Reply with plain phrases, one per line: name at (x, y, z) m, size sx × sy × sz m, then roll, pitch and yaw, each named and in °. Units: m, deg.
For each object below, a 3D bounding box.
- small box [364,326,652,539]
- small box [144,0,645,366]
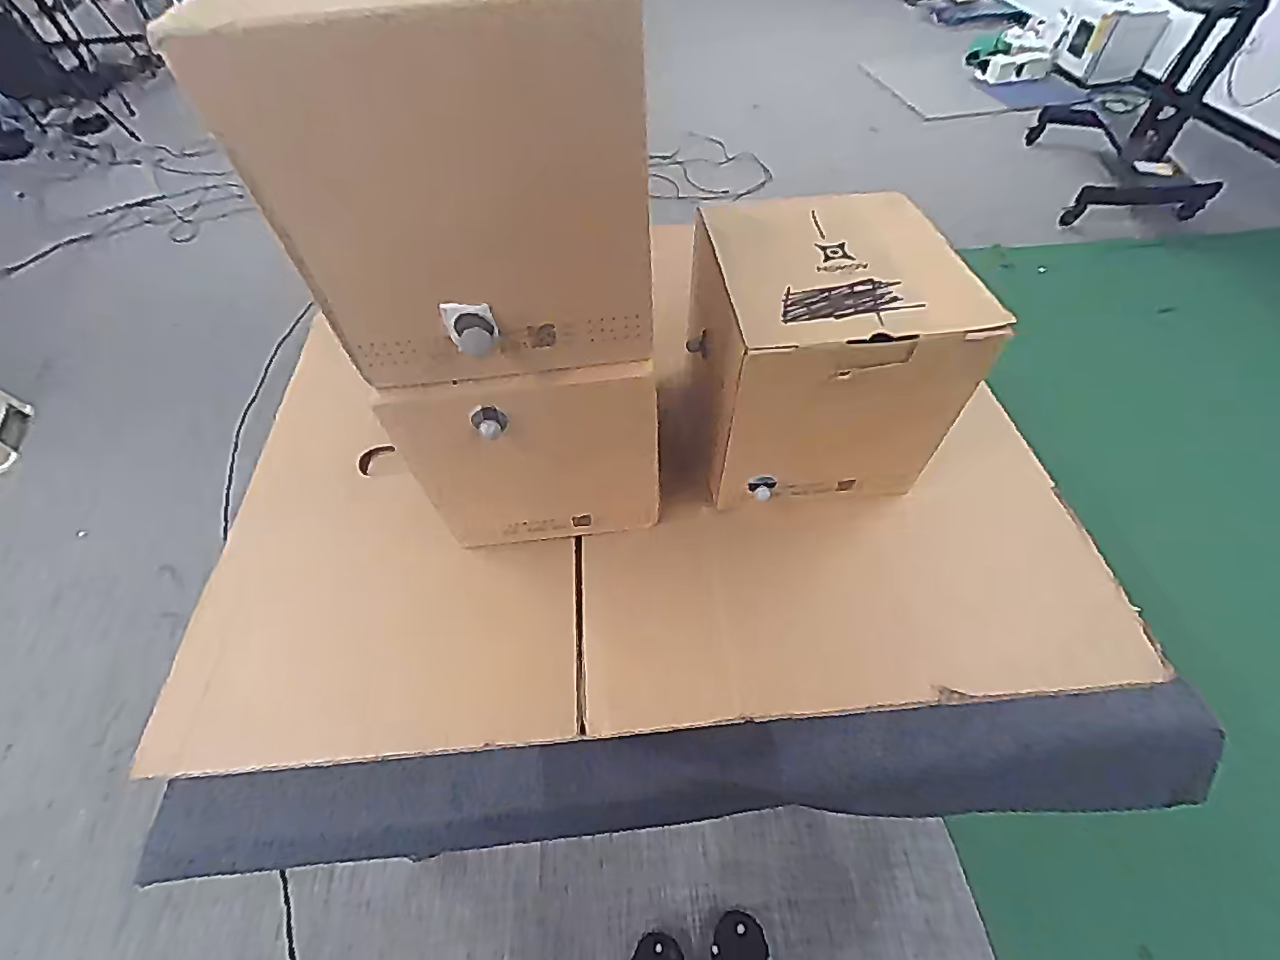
small box at (-0.081, -0.075, 0.425) m, size 0.168 × 0.176 × 0.179 m, roll -6°, pitch 53°, yaw 0°
small box at (-0.091, -0.187, 0.287) m, size 0.168 × 0.176 × 0.179 m, roll -8°, pitch 55°, yaw -2°
